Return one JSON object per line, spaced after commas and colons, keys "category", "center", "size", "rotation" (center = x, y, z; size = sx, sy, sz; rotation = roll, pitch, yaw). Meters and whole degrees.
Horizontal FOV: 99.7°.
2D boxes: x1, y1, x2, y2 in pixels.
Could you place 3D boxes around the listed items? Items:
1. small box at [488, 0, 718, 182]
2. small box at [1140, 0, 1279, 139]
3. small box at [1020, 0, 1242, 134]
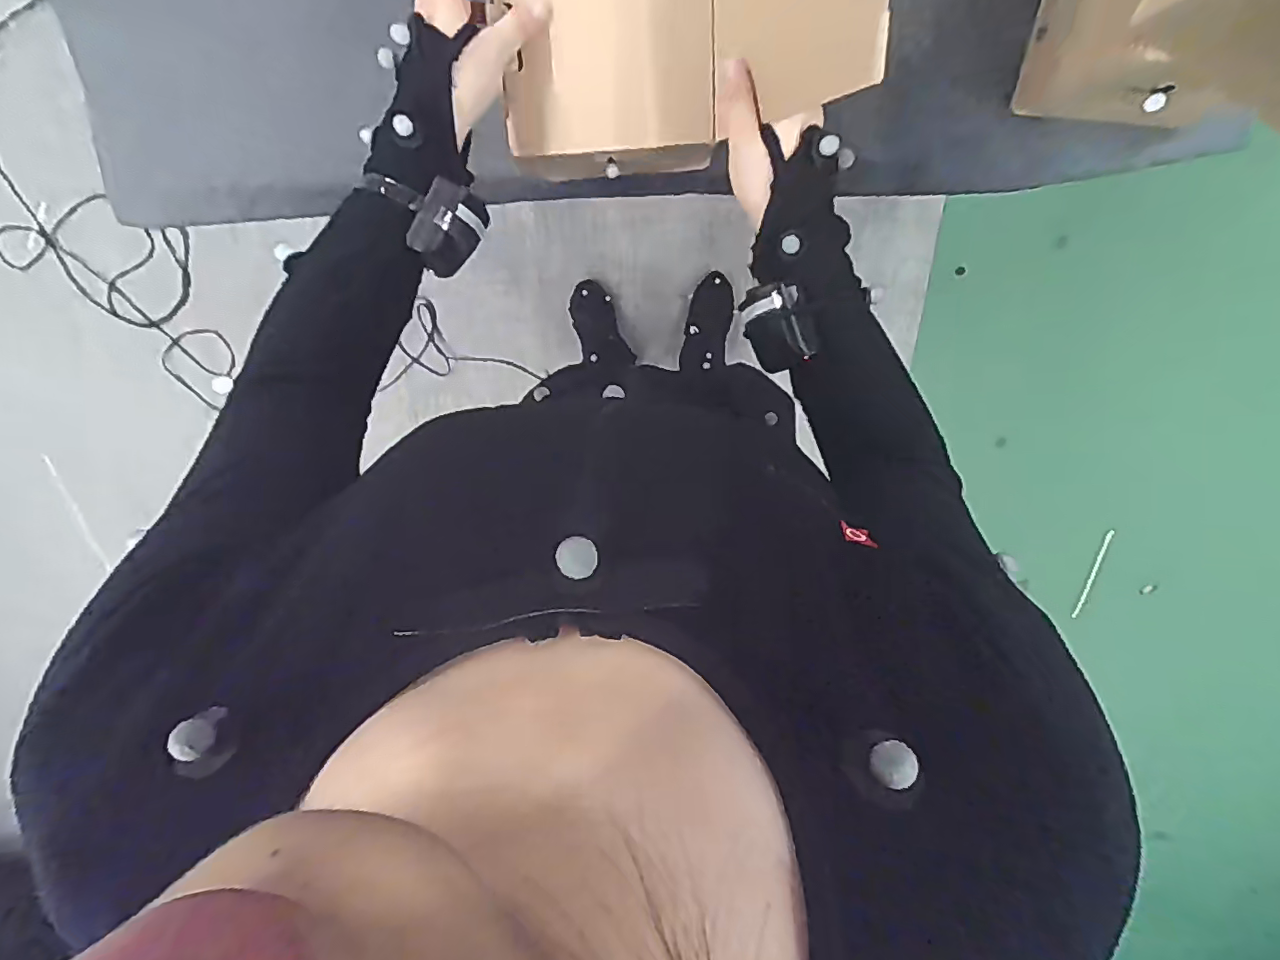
{"category": "small box", "center": [-0.021, -0.373, 0.489], "size": [0.179, 0.176, 0.168], "rotation": [-2, 115, 5]}
{"category": "small box", "center": [0.455, -0.319, 0.297], "size": [0.179, 0.176, 0.168], "rotation": [25, 112, -8]}
{"category": "small box", "center": [0.462, -0.398, 0.440], "size": [0.179, 0.176, 0.168], "rotation": [6, 113, 2]}
